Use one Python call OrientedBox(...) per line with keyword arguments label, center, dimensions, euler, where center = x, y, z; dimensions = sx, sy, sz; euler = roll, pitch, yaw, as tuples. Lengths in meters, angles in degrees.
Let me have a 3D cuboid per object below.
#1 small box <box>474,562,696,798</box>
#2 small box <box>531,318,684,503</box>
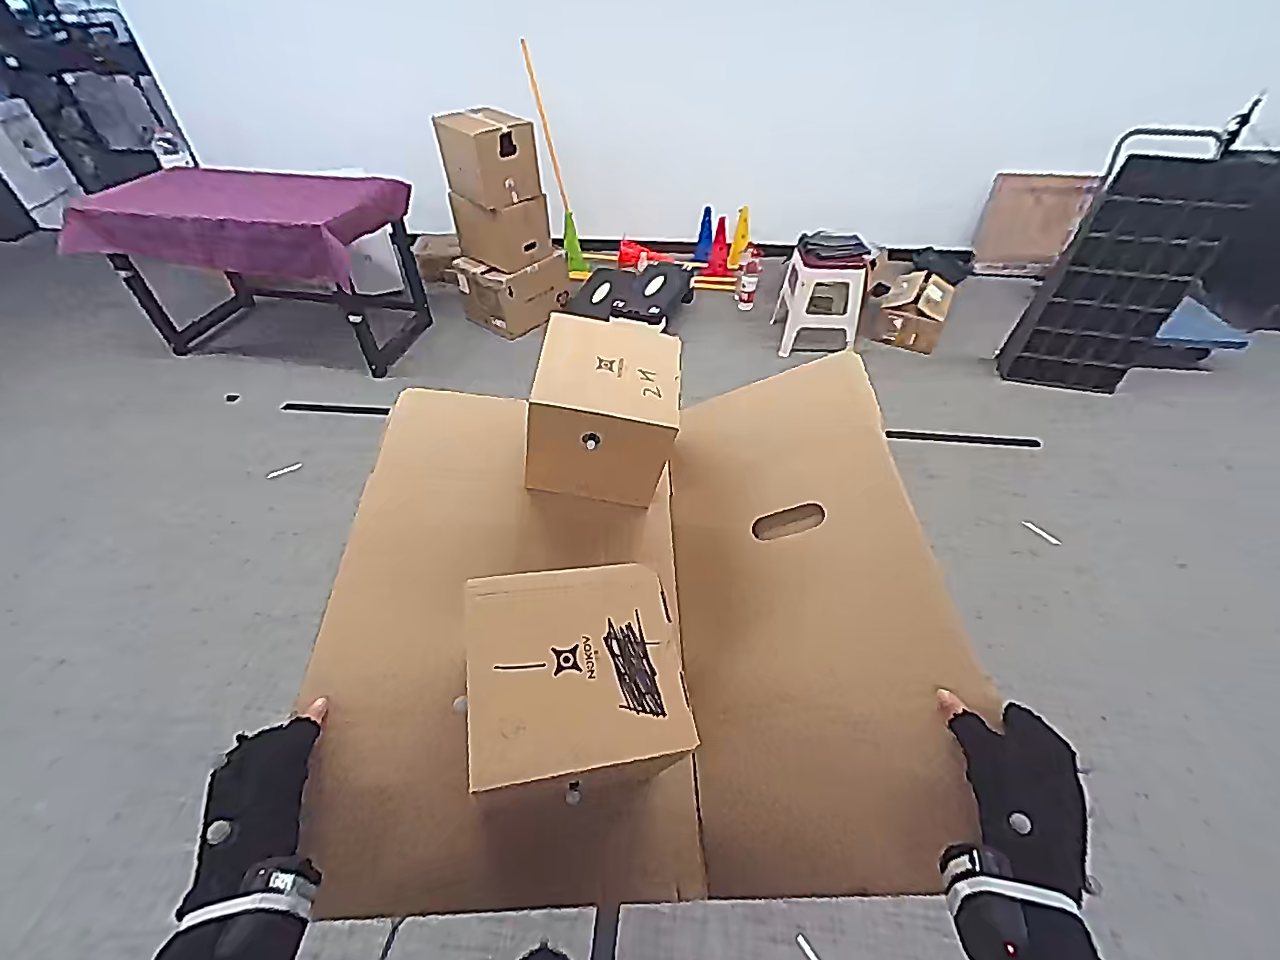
OrientedBox(label="small box", center=(-0.067, 0.194, 0.523), dimensions=(0.179, 0.176, 0.168), euler=(-3, 55, -15))
OrientedBox(label="small box", center=(-0.047, -0.087, 0.734), dimensions=(0.179, 0.176, 0.168), euler=(11, 53, -7))
